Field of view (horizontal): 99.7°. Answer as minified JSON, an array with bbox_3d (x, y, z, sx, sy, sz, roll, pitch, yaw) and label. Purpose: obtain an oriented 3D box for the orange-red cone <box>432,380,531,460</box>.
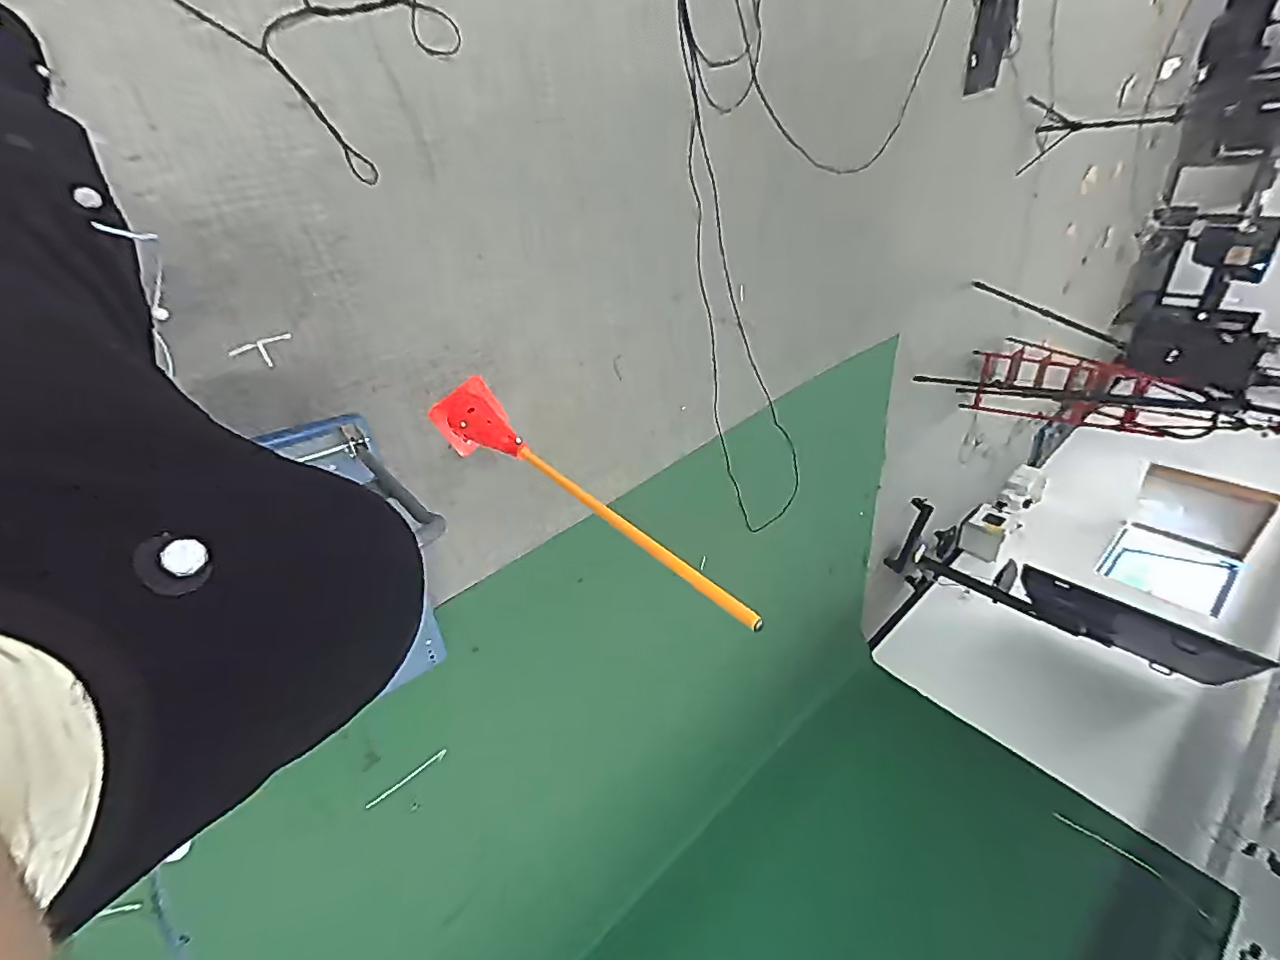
[{"bbox_3d":[-0.424,-0.135,1.594,0.199,0.360,0.198,-44,135,-19],"label":"orange-red cone"}]
